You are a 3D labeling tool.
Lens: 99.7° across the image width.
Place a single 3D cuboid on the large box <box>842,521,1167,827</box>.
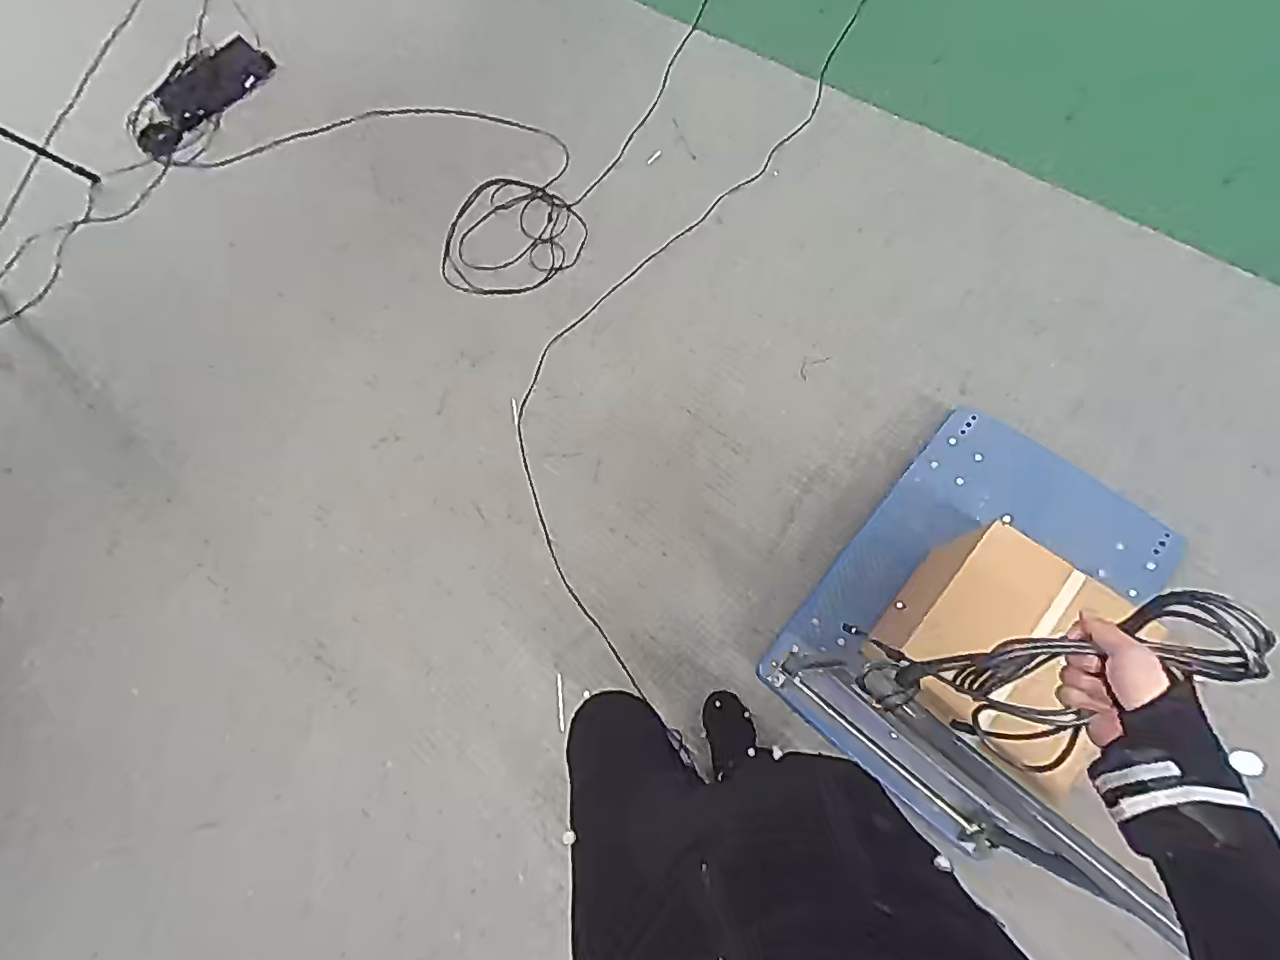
[{"bbox_3d":[0.668,0.359,1.061,0.320,0.320,0.408,39,80,16],"label":"large box"}]
